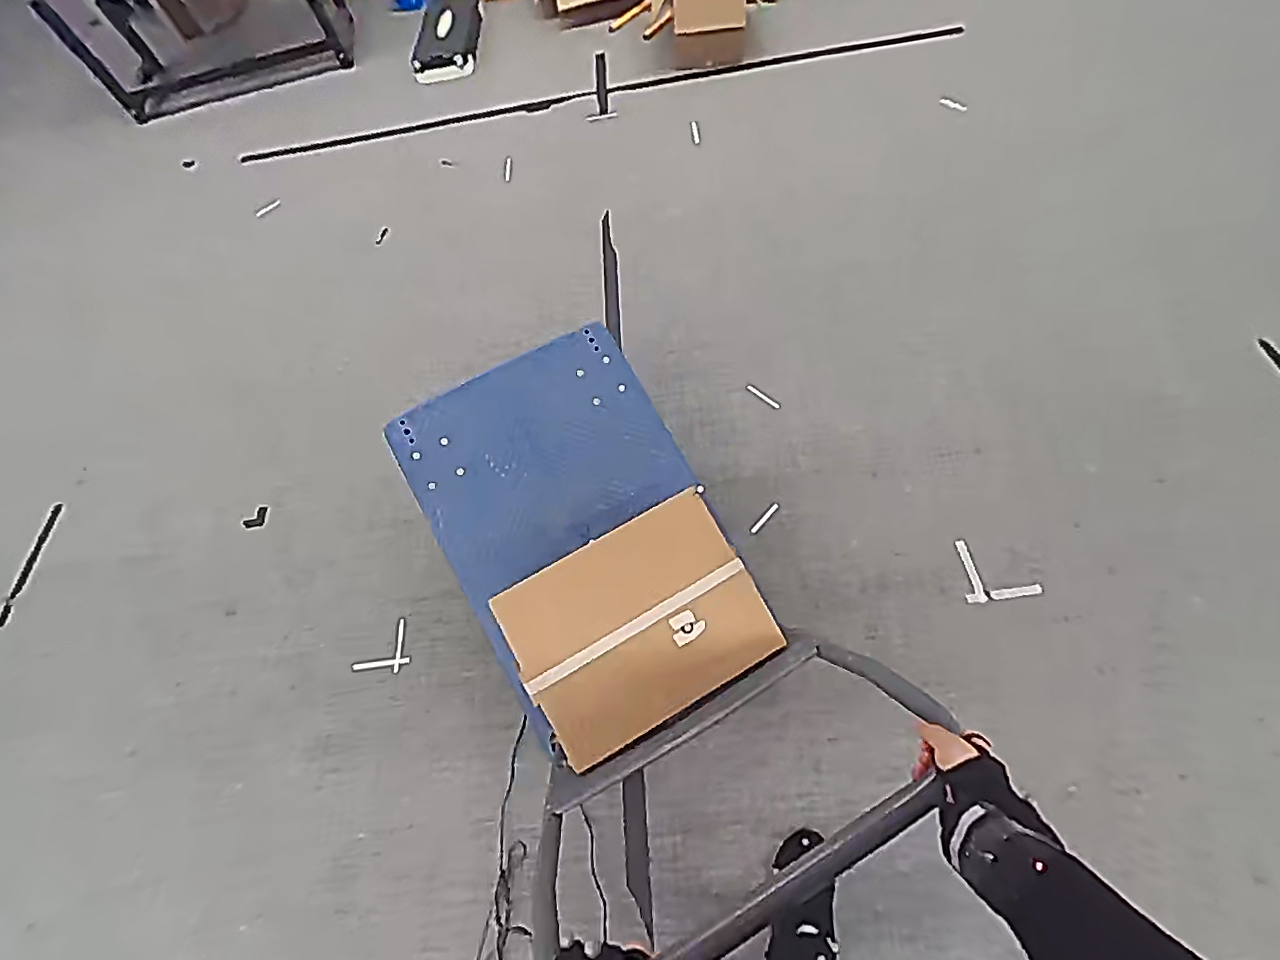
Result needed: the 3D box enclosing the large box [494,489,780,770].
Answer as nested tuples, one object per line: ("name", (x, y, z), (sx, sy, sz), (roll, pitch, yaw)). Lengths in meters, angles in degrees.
("large box", (-0.013, 0.271, 1.059), (0.408, 0.320, 0.320), (-30, 83, -9))
